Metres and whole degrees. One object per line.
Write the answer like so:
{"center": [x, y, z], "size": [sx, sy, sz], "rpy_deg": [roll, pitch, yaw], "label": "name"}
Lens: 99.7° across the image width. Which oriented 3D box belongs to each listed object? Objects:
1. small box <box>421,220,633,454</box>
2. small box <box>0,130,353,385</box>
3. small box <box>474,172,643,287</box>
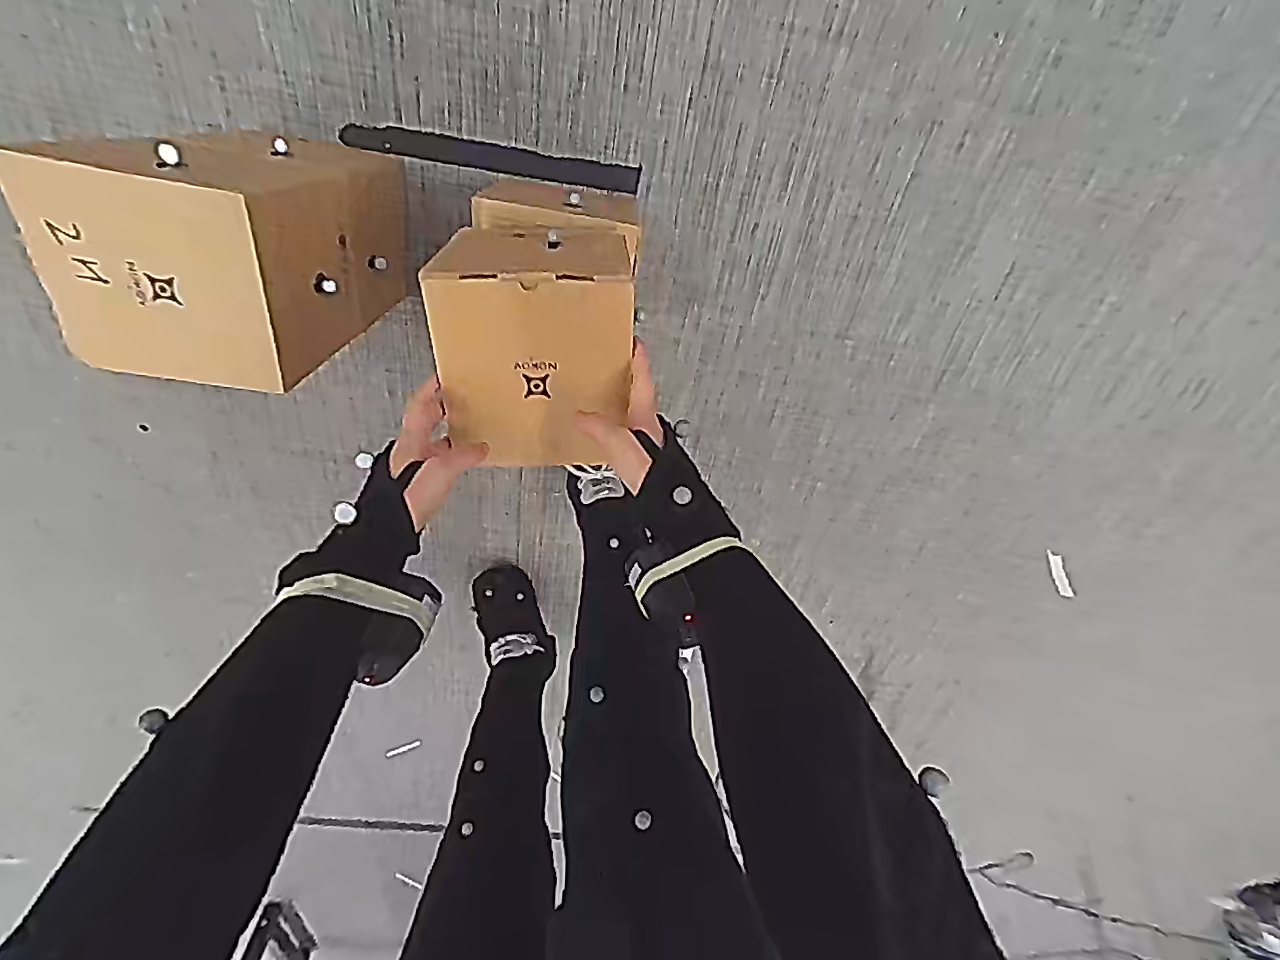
{"center": [-0.094, -0.142, 0.530], "size": [0.168, 0.176, 0.179], "rpy_deg": [-1, 125, -4], "label": "small box"}
{"center": [-0.384, -0.208, 0.494], "size": [0.179, 0.176, 0.168], "rpy_deg": [9, 124, -6], "label": "small box"}
{"center": [-0.095, -0.264, 0.660], "size": [0.179, 0.176, 0.168], "rpy_deg": [8, 125, -5], "label": "small box"}
